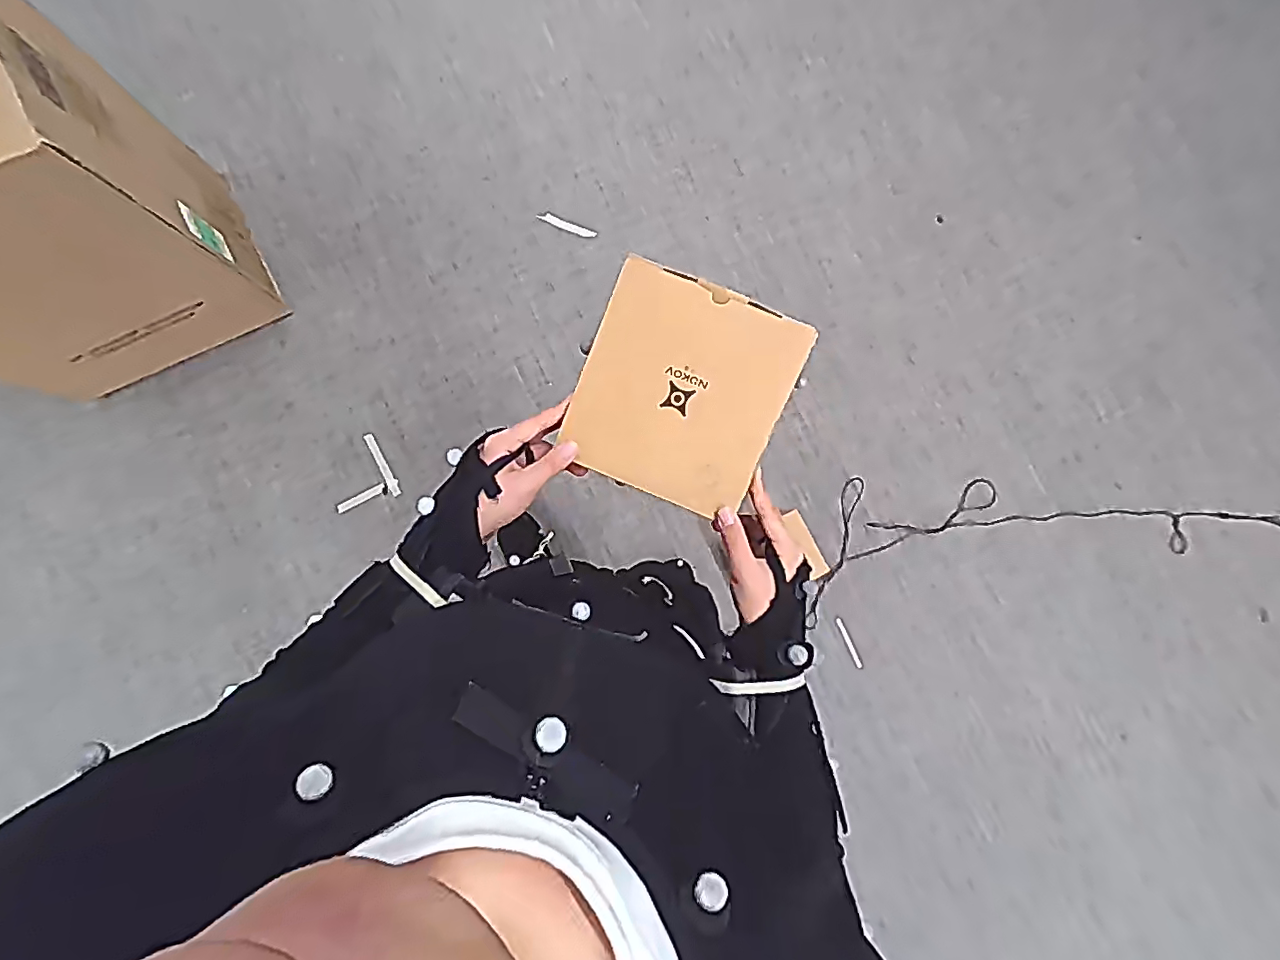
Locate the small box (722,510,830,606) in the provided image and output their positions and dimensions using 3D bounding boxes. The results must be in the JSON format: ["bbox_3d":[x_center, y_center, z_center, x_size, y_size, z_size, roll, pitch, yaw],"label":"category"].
[{"bbox_3d":[0.322,0.183,1.316,0.179,0.176,0.168,-27,87,-5],"label":"small box"}]

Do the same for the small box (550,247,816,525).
[{"bbox_3d":[0.038,-0.081,0.508,0.168,0.176,0.179,22,98,1],"label":"small box"}]
